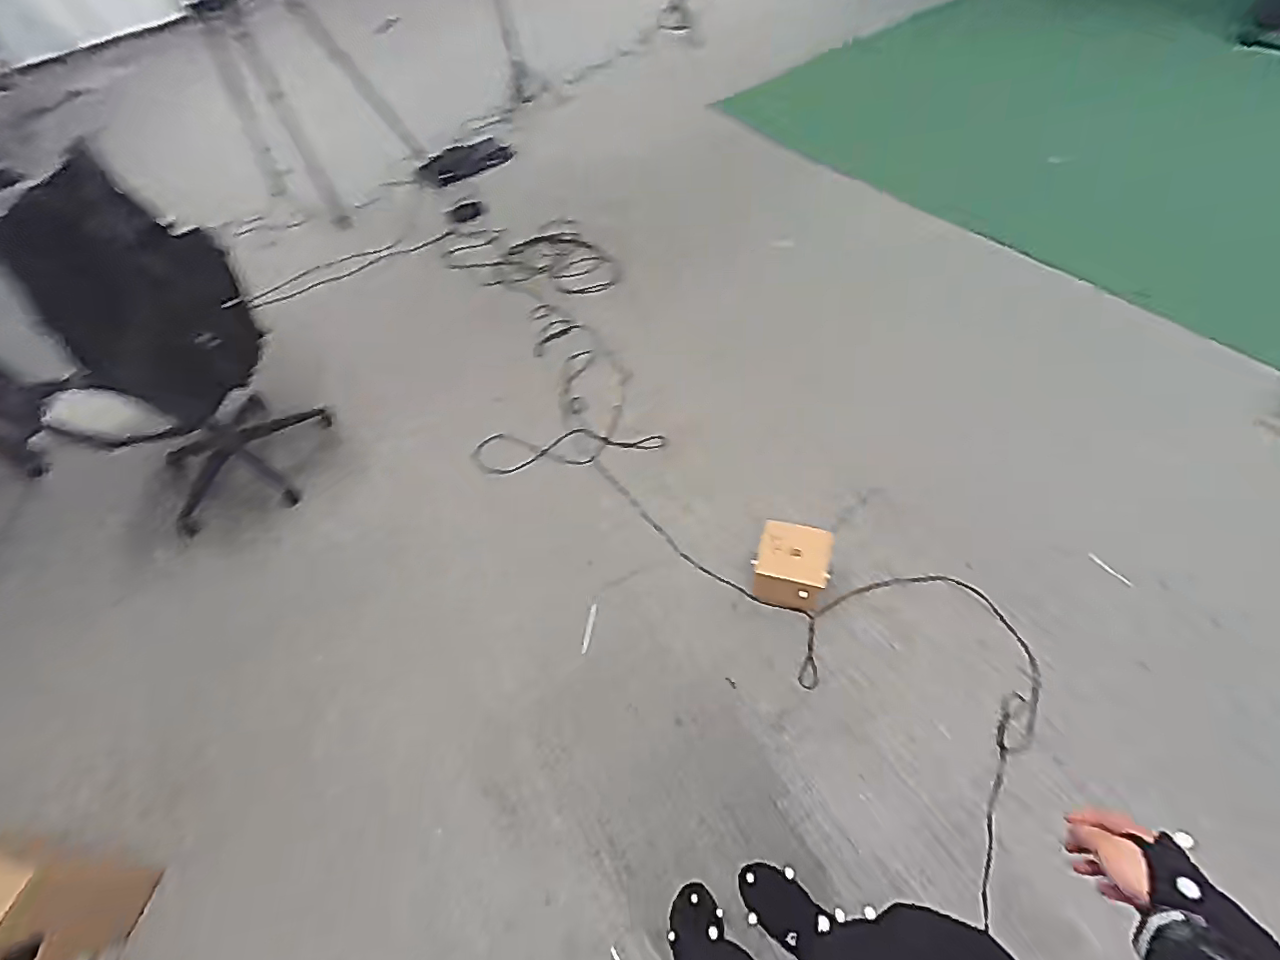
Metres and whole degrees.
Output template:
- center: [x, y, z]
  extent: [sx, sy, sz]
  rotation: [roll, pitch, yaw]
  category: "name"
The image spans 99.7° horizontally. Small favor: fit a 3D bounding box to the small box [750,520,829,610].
- center: [0.400, 0.234, 1.461]
  extent: [0.179, 0.176, 0.168]
  rotation: [10, 57, 16]
  category: "small box"
